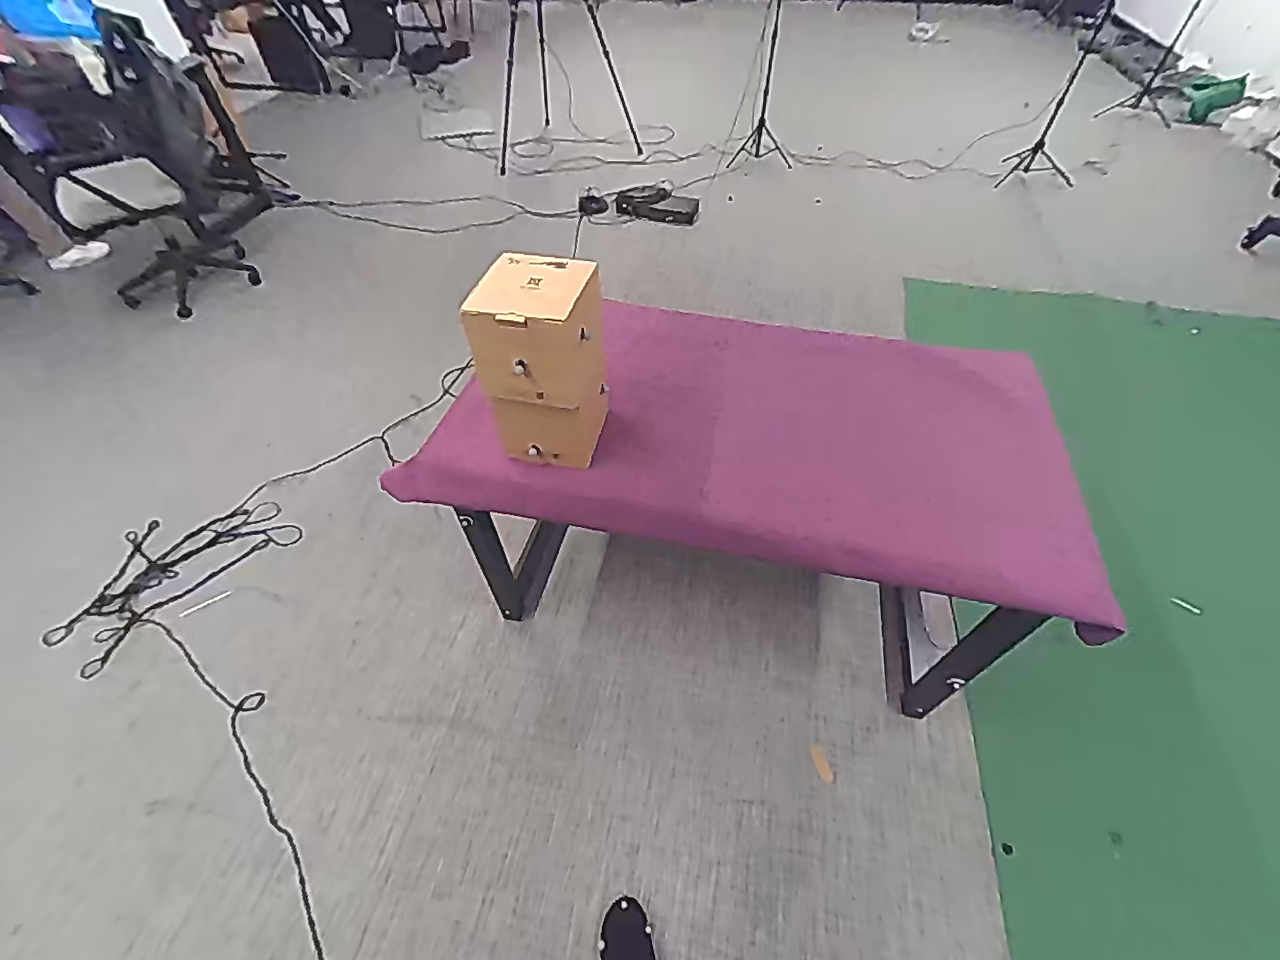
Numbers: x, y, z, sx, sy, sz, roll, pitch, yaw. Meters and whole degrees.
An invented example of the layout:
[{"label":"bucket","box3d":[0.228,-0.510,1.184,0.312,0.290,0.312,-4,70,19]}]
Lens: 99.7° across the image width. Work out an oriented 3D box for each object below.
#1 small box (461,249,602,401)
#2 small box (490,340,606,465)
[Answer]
[{"label":"small box","box3d":[-0.163,-0.252,0.890,0.168,0.176,0.179,10,51,9]},{"label":"small box","box3d":[-0.162,-0.156,1.022,0.168,0.176,0.179,9,51,8]}]
